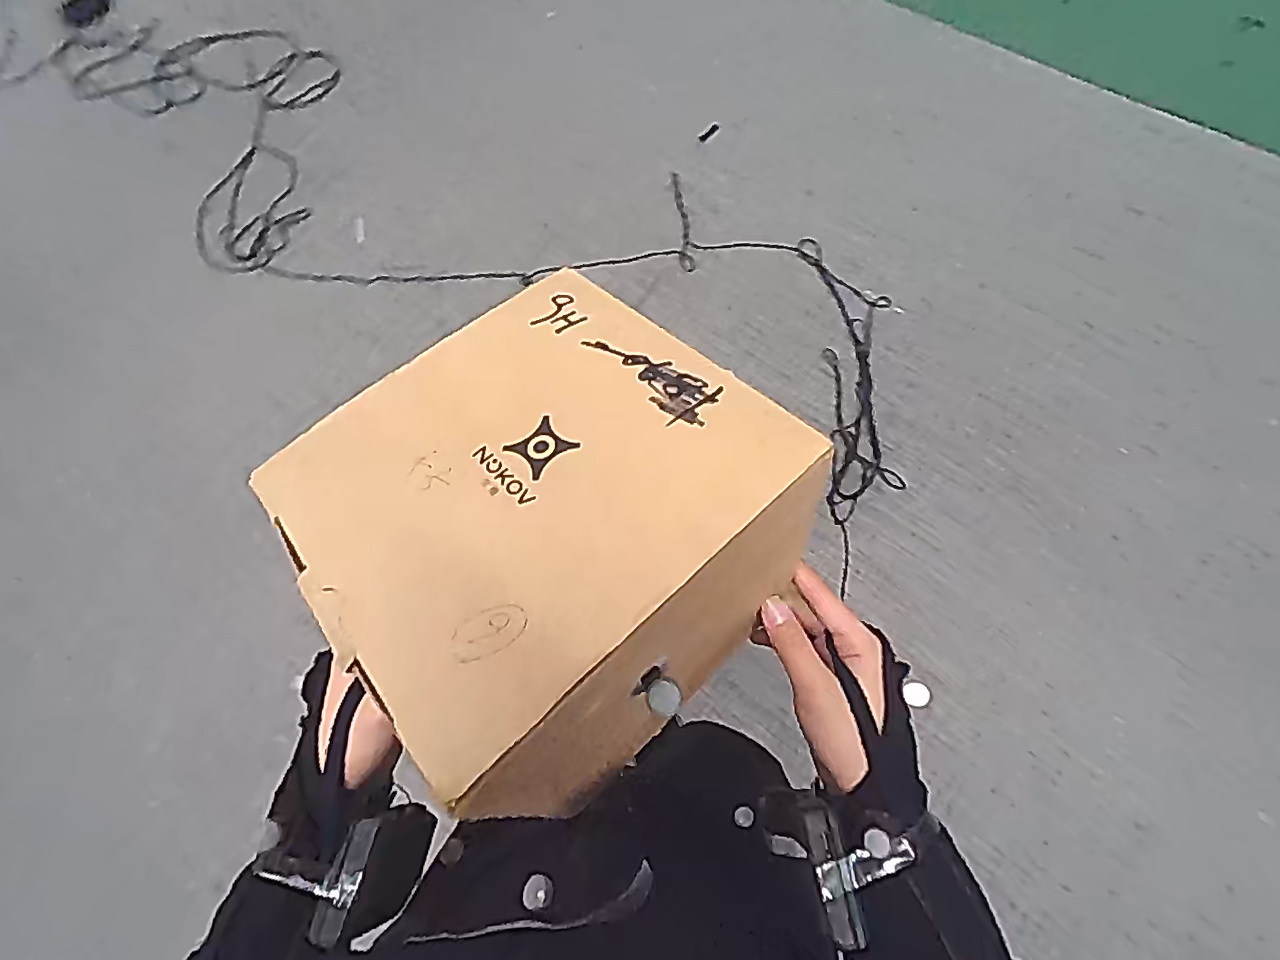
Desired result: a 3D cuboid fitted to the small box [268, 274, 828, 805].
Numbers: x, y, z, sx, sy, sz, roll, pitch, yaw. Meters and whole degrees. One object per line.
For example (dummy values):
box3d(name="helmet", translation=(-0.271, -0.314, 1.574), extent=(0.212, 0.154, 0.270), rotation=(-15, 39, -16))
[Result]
box3d(name="small box", translation=(-0.033, 0.038, 0.281), extent=(0.179, 0.176, 0.168), rotation=(-39, 61, -16))
